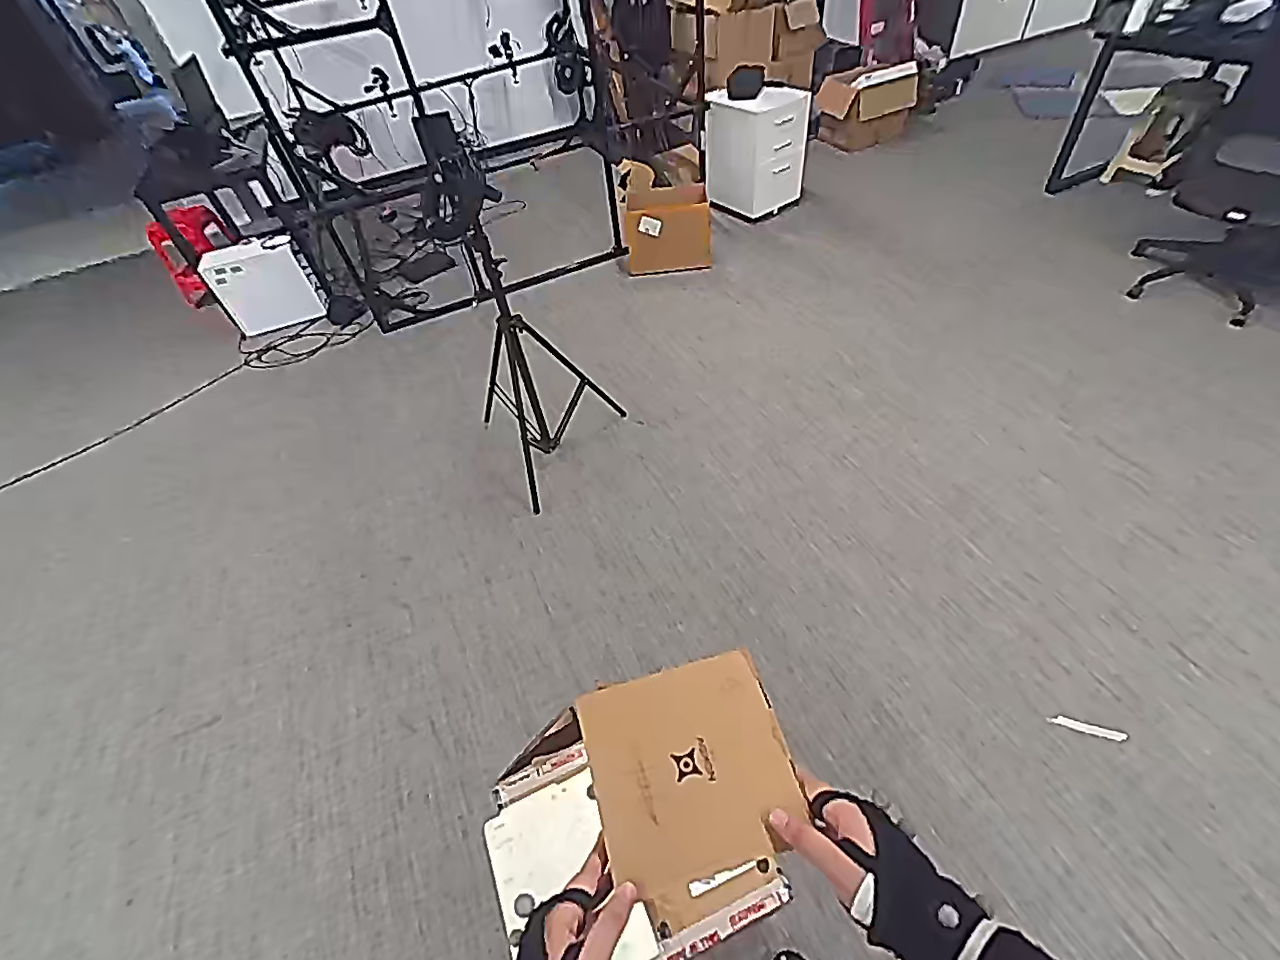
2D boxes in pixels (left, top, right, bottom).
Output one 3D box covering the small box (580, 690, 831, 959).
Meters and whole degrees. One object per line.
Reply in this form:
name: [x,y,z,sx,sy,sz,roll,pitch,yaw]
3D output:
small box: [0.050,0.326,0.525,0.179,0.176,0.168,-15,57,-8]
